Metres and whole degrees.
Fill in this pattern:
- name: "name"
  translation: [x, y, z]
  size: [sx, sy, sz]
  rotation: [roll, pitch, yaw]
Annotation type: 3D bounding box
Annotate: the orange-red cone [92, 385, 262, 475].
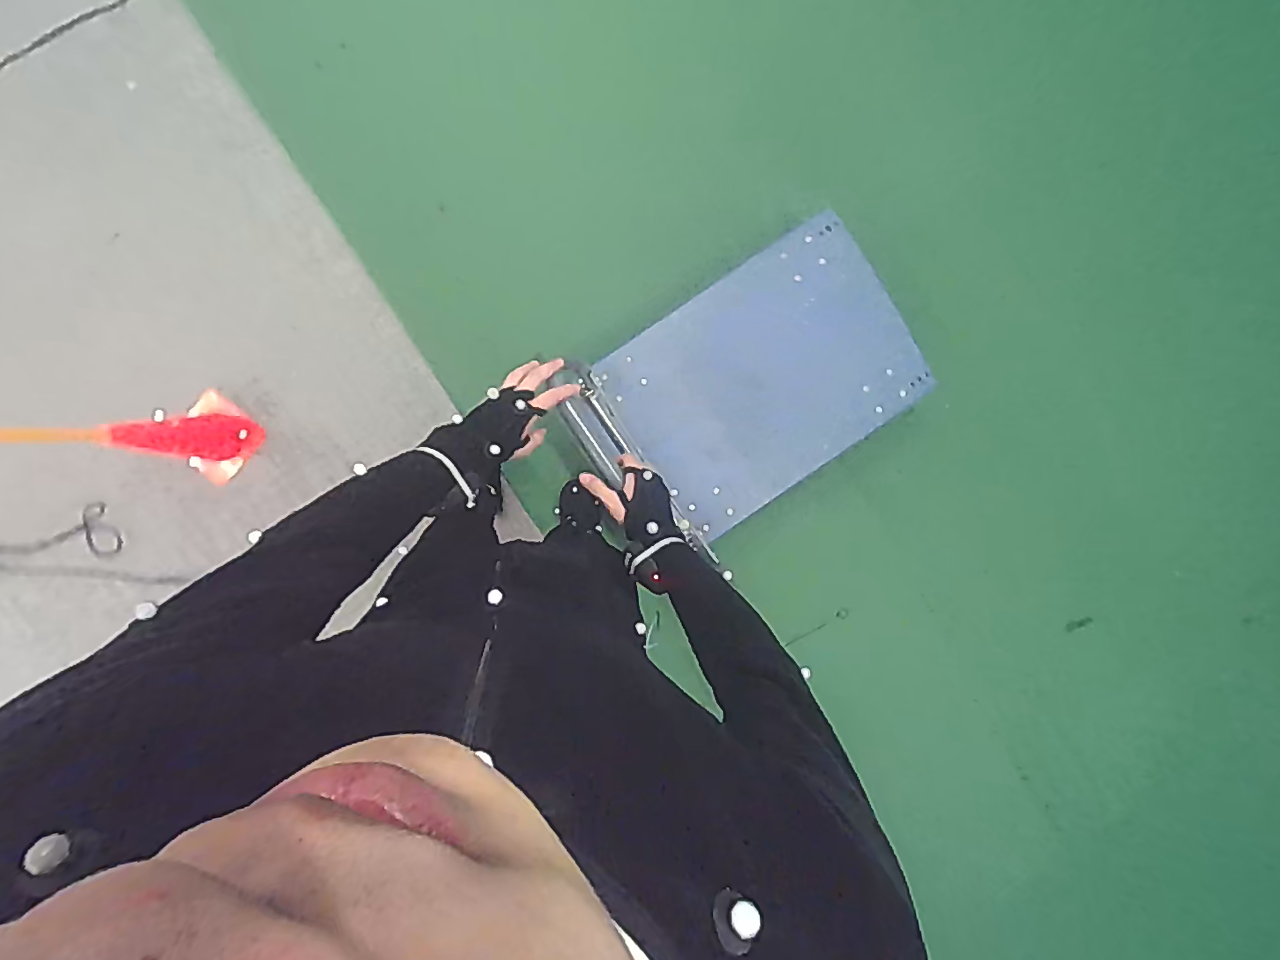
- name: "orange-red cone"
  translation: [-1.173, -0.129, 1.336]
  size: [0.199, 0.360, 0.198]
  rotation: [43, 89, -5]
